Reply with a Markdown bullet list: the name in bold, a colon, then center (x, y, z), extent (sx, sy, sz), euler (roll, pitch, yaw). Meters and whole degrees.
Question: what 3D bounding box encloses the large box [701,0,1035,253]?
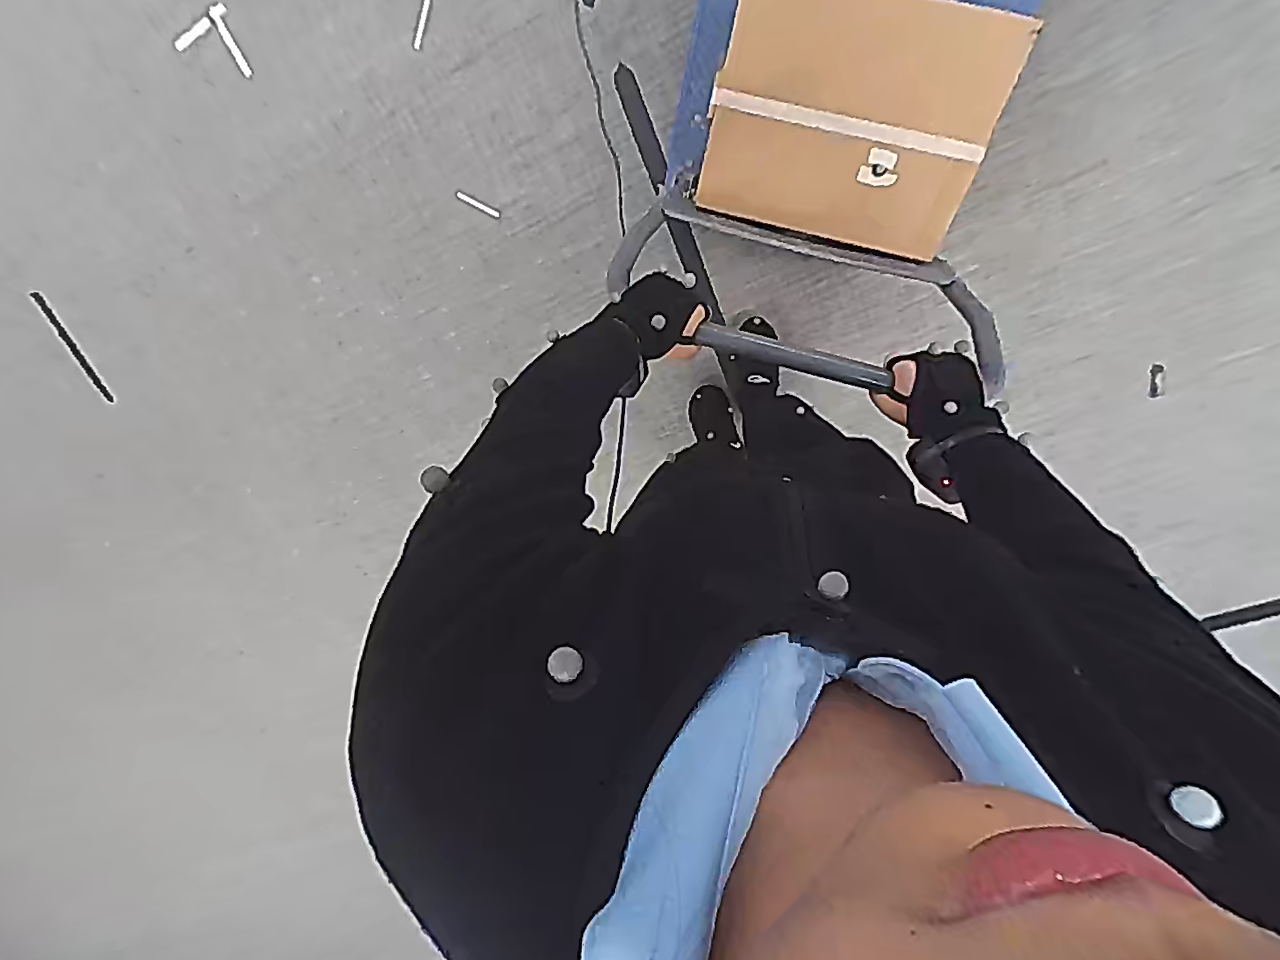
- **large box**: center (0.343, -0.625, 0.947), extent (0.408, 0.320, 0.320), euler (15, 125, 3)
